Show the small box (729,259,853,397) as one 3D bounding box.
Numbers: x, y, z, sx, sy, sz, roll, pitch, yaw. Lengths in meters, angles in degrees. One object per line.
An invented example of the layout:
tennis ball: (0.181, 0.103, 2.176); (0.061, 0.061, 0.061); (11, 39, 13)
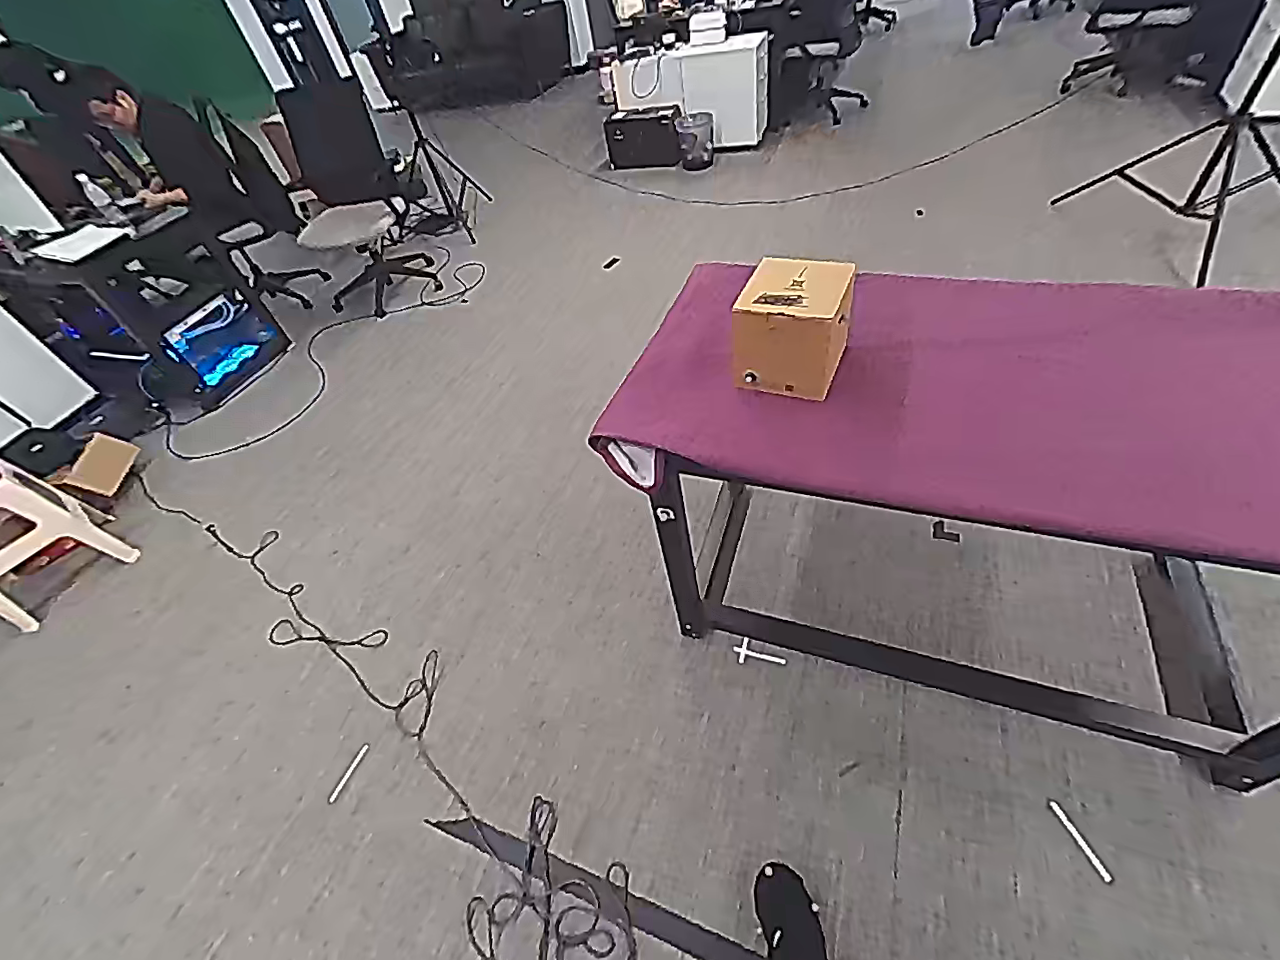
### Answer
small box: (0.271, -0.272, 0.971); (0.168, 0.176, 0.179); (15, 53, 23)
